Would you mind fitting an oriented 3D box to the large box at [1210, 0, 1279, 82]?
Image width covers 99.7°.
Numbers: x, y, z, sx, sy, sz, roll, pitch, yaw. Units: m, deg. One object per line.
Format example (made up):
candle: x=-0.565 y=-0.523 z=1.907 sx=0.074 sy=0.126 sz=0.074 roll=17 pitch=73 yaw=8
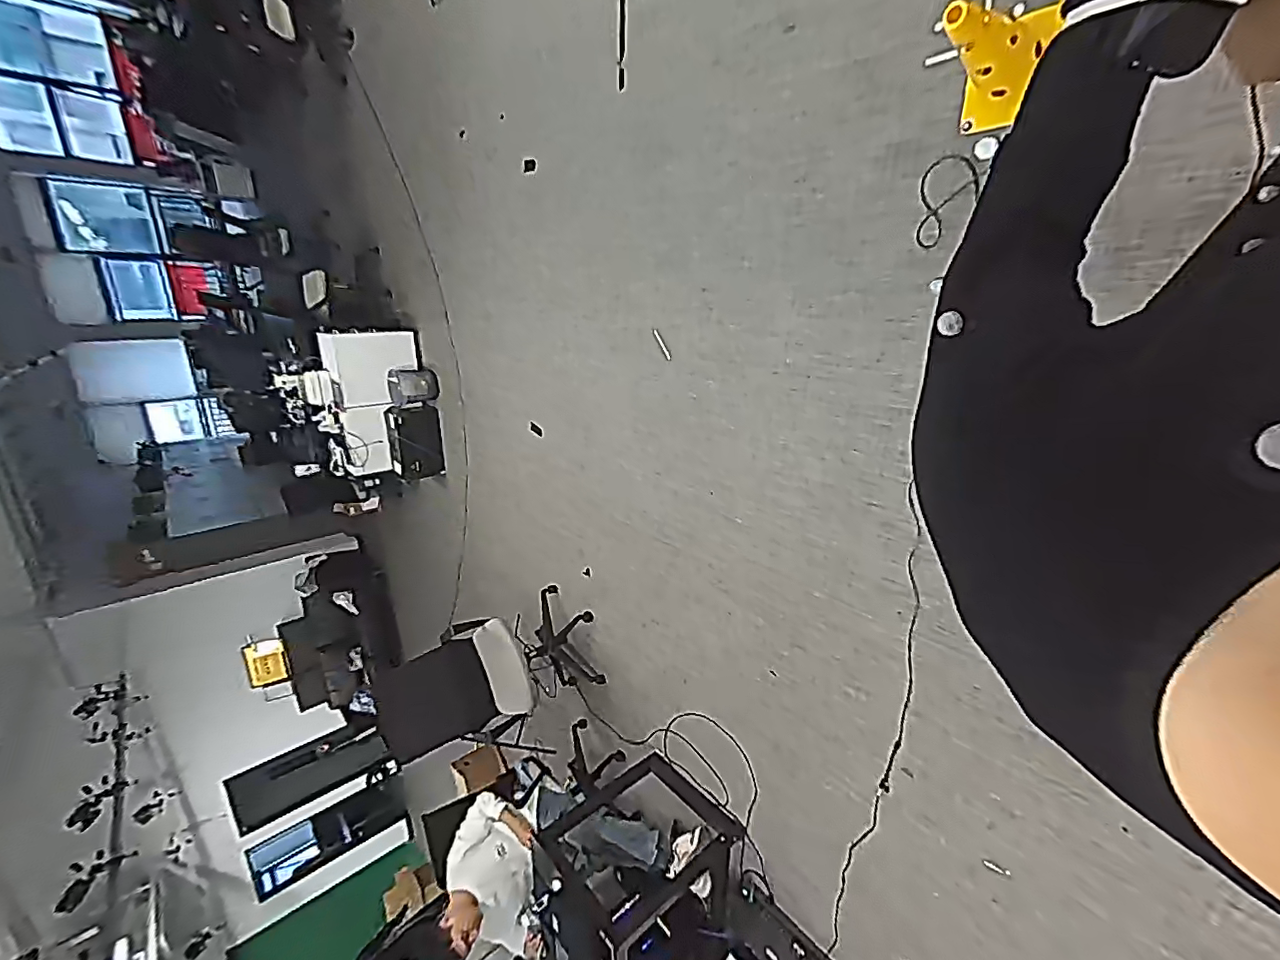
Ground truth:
large box: x=0.580 y=-0.422 z=0.228 sx=0.408 sy=0.320 sz=0.320 roll=23 pitch=123 yaw=43
